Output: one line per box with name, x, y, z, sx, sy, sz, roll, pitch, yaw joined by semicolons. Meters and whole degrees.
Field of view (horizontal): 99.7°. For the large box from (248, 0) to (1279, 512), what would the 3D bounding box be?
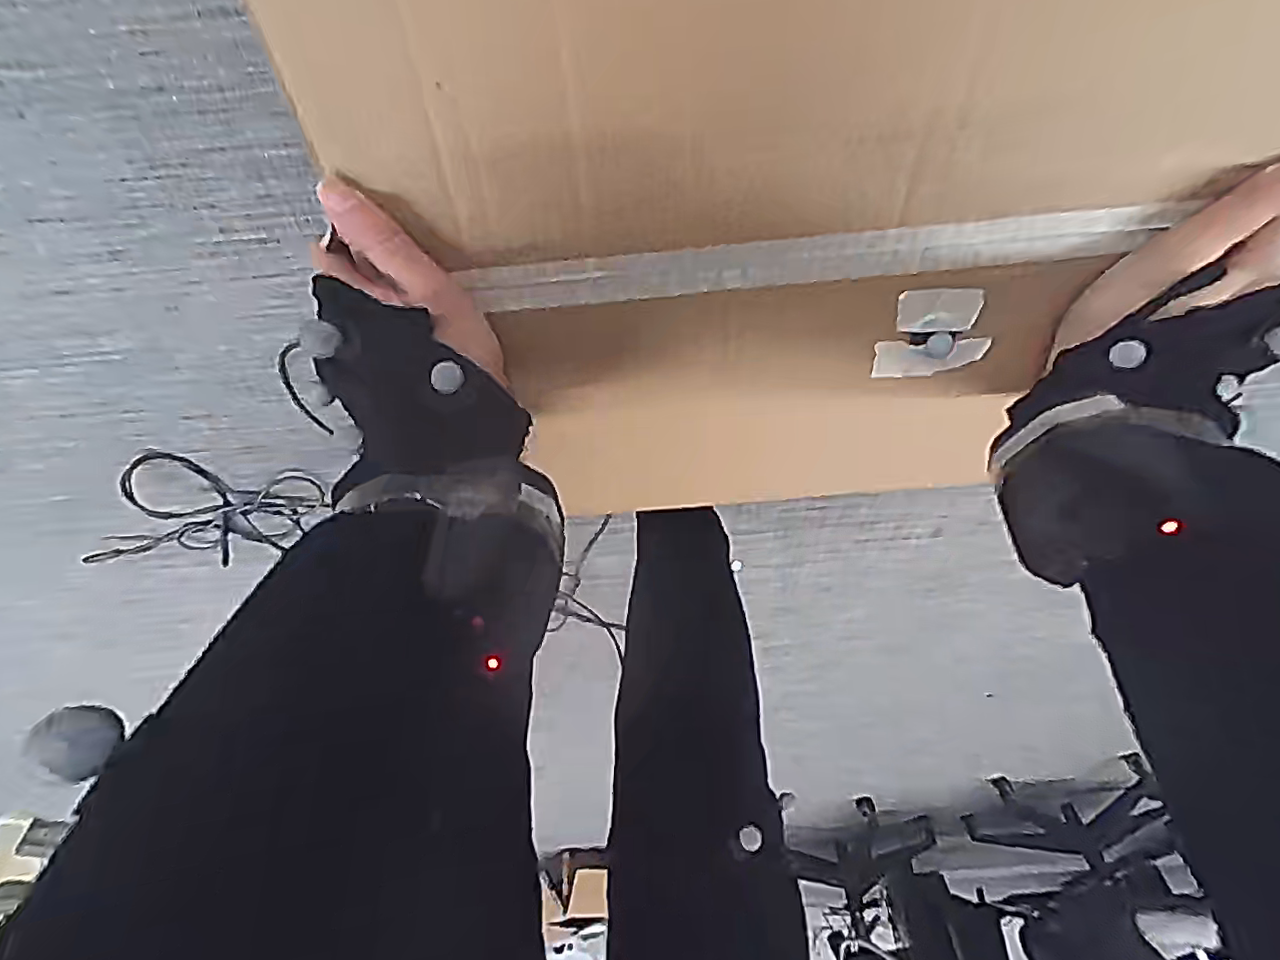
large box;0.063;-0.212;0.355;0.408;0.320;0.320;-6;135;1
